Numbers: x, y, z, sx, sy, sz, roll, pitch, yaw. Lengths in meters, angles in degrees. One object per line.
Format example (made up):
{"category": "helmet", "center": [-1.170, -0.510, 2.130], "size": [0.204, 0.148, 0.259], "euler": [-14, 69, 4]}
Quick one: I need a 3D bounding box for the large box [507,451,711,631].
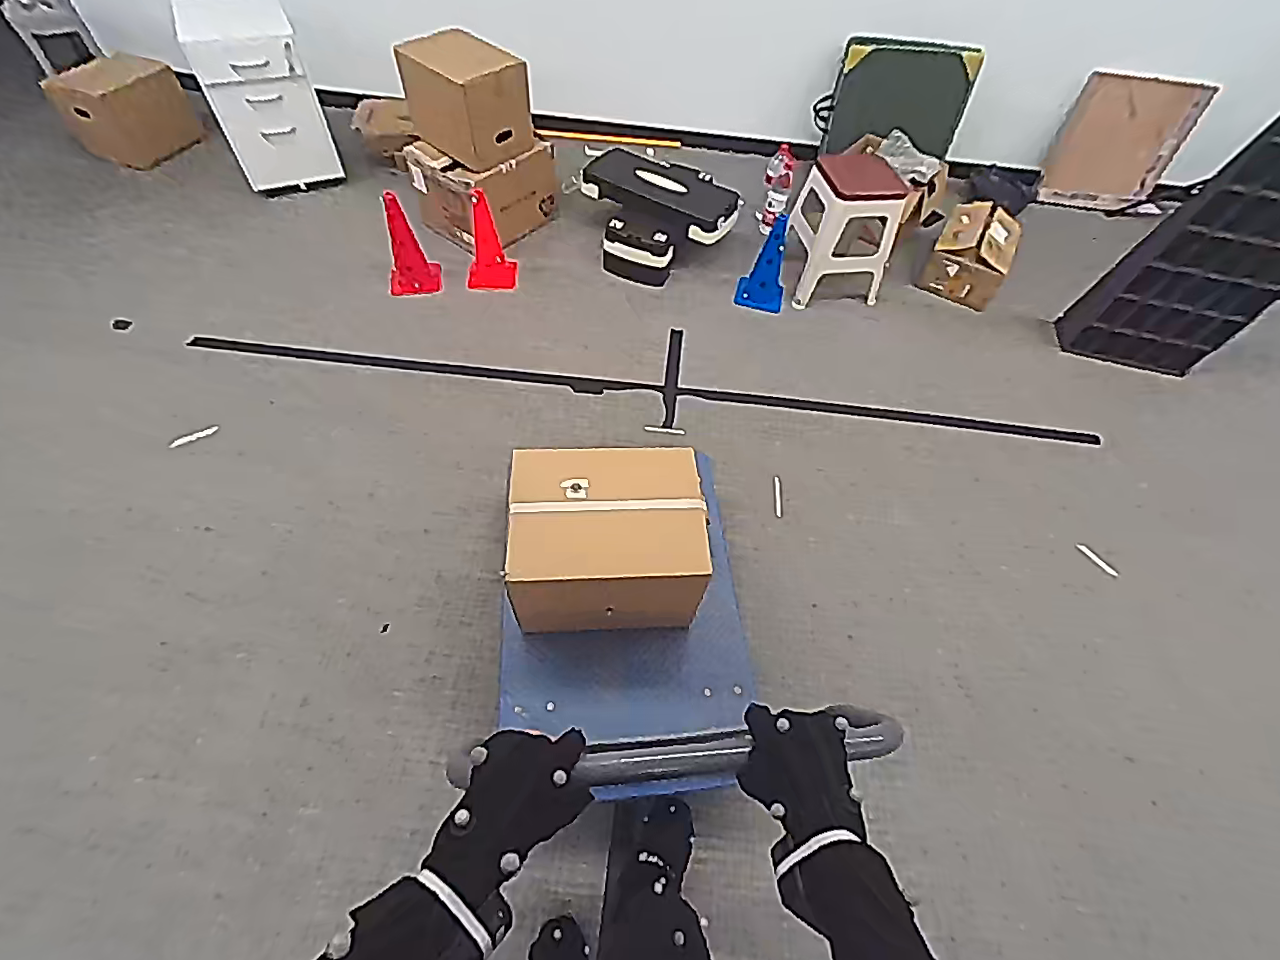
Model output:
{"category": "large box", "center": [-0.075, 0.148, 1.252], "size": [0.408, 0.320, 0.320], "euler": [-1, 56, -5]}
